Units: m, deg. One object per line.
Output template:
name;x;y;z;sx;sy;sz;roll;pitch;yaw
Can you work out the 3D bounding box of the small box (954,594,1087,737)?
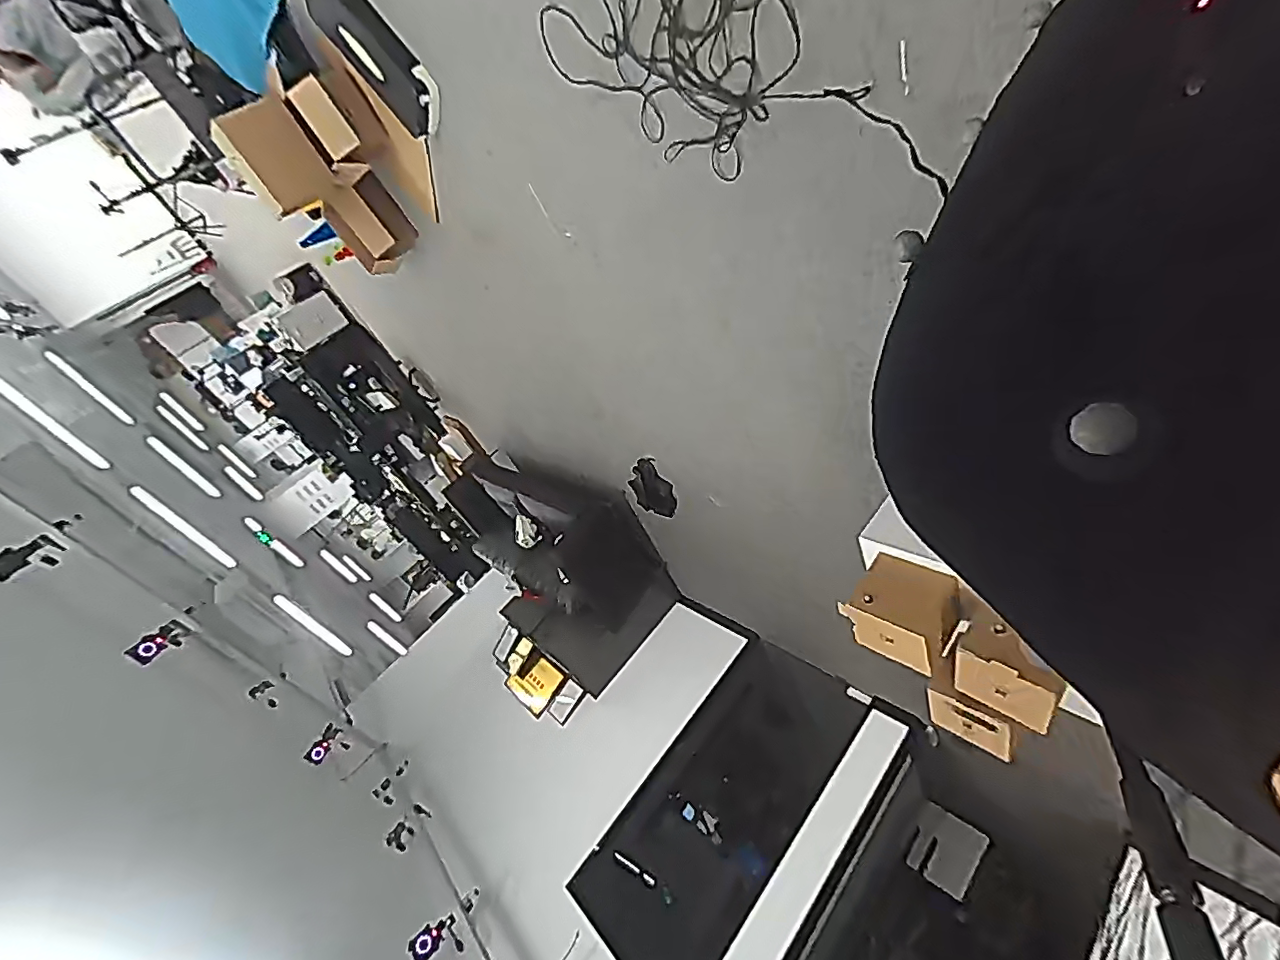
small box;0.742;0.355;1.060;0.168;0.176;0.179;24;151;45
